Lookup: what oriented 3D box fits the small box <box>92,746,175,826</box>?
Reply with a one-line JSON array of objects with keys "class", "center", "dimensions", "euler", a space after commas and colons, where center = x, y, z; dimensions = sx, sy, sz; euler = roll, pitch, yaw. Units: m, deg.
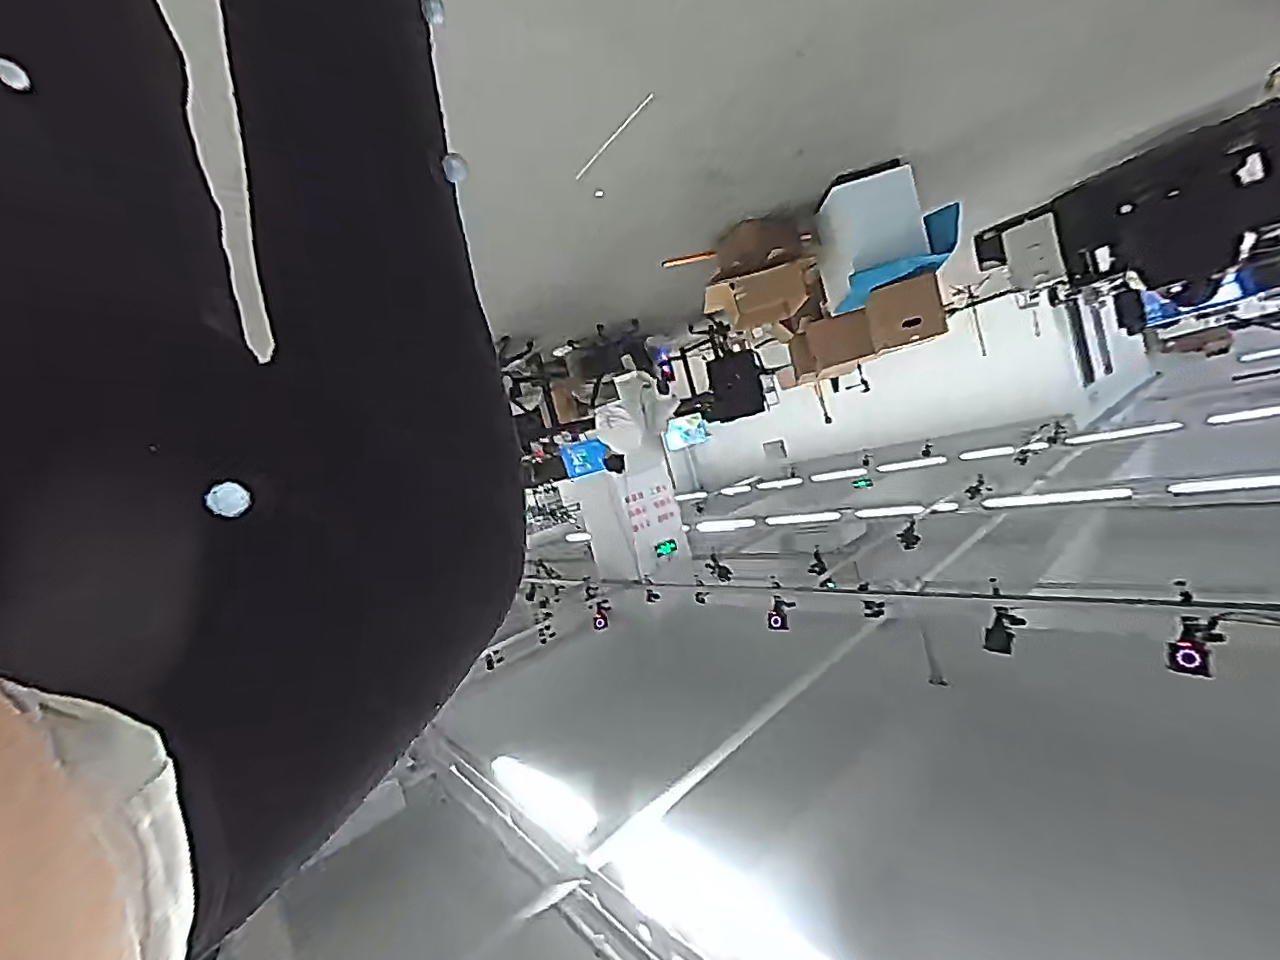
[{"class": "small box", "center": [-1.701, 1.008, 1.819], "dimensions": [0.168, 0.176, 0.179], "euler": [-17, -175, -38]}]
